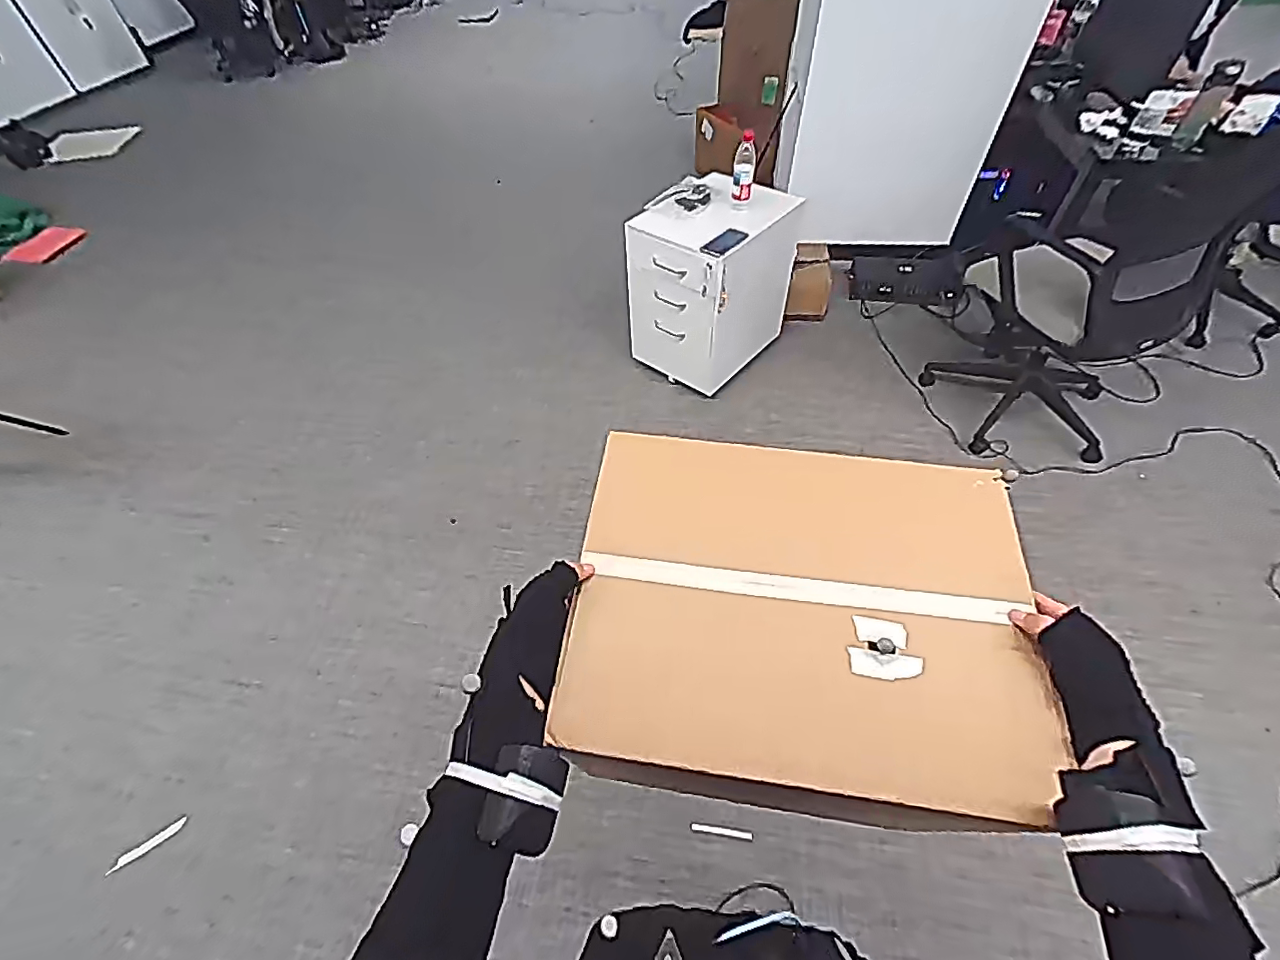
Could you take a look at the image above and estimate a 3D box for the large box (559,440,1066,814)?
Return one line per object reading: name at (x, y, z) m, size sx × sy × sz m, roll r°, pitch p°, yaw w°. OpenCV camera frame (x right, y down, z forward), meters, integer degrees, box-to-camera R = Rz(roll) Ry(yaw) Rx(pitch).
large box at (0.148, 0.181, 0.627) m, size 0.408 × 0.320 × 0.320 m, roll 6°, pitch 59°, yaw 5°
